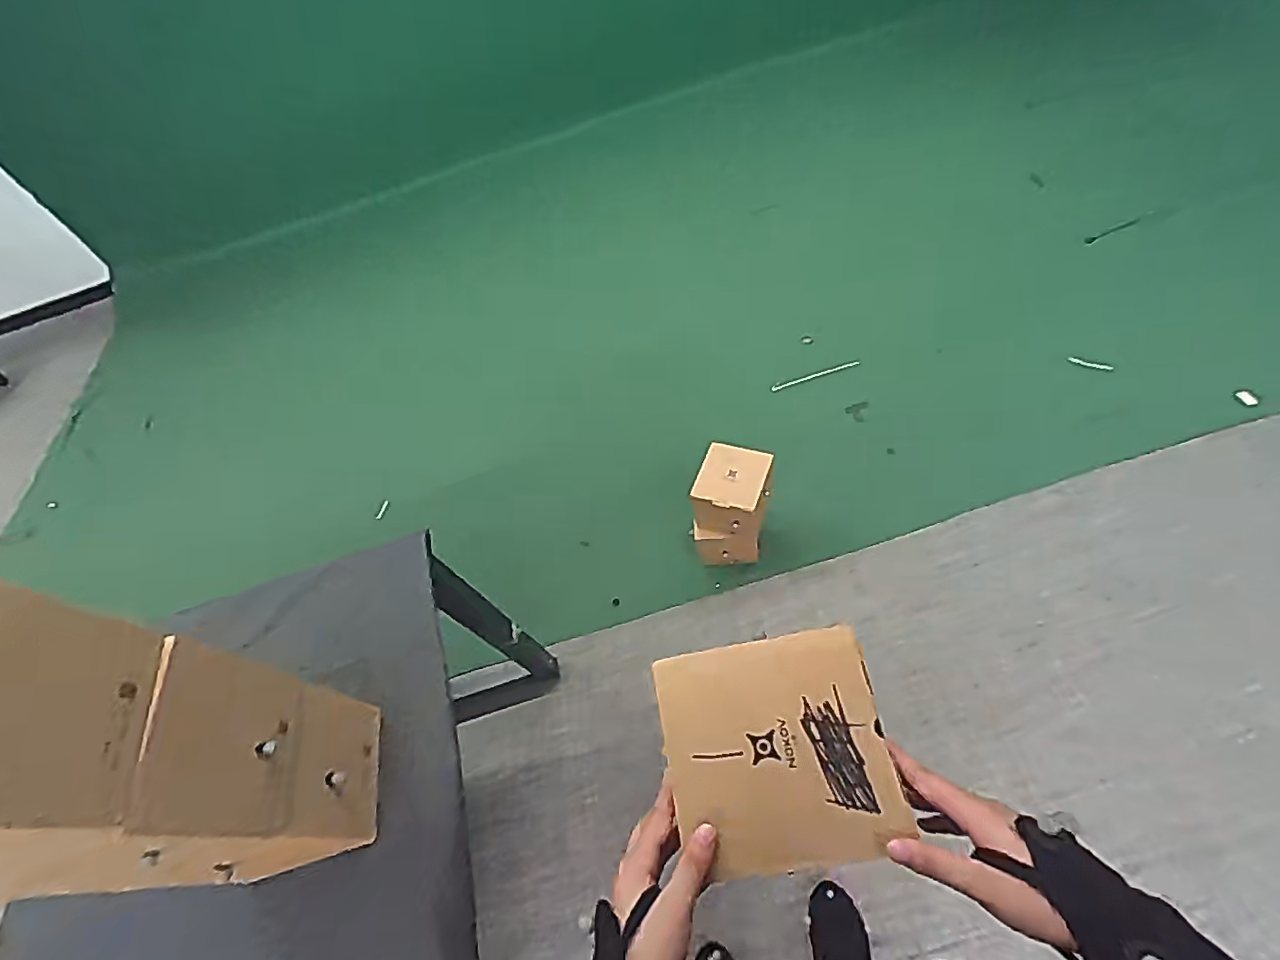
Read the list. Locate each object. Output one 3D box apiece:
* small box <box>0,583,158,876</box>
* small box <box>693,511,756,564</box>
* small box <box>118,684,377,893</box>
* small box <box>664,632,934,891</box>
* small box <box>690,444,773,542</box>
[{"bbox_3d":[-0.512,0.190,0.382,0.179,0.176,0.168,-22,55,0],"label":"small box"},{"bbox_3d":[0.242,0.132,1.544,0.168,0.176,0.179,-4,56,10],"label":"small box"},{"bbox_3d":[-0.444,0.367,0.650,0.179,0.176,0.168,-19,54,2],"label":"small box"},{"bbox_3d":[0.126,0.244,0.494,0.179,0.176,0.168,-11,65,5],"label":"small box"},{"bbox_3d":[0.243,0.038,1.408,0.168,0.176,0.179,15,60,20],"label":"small box"}]
